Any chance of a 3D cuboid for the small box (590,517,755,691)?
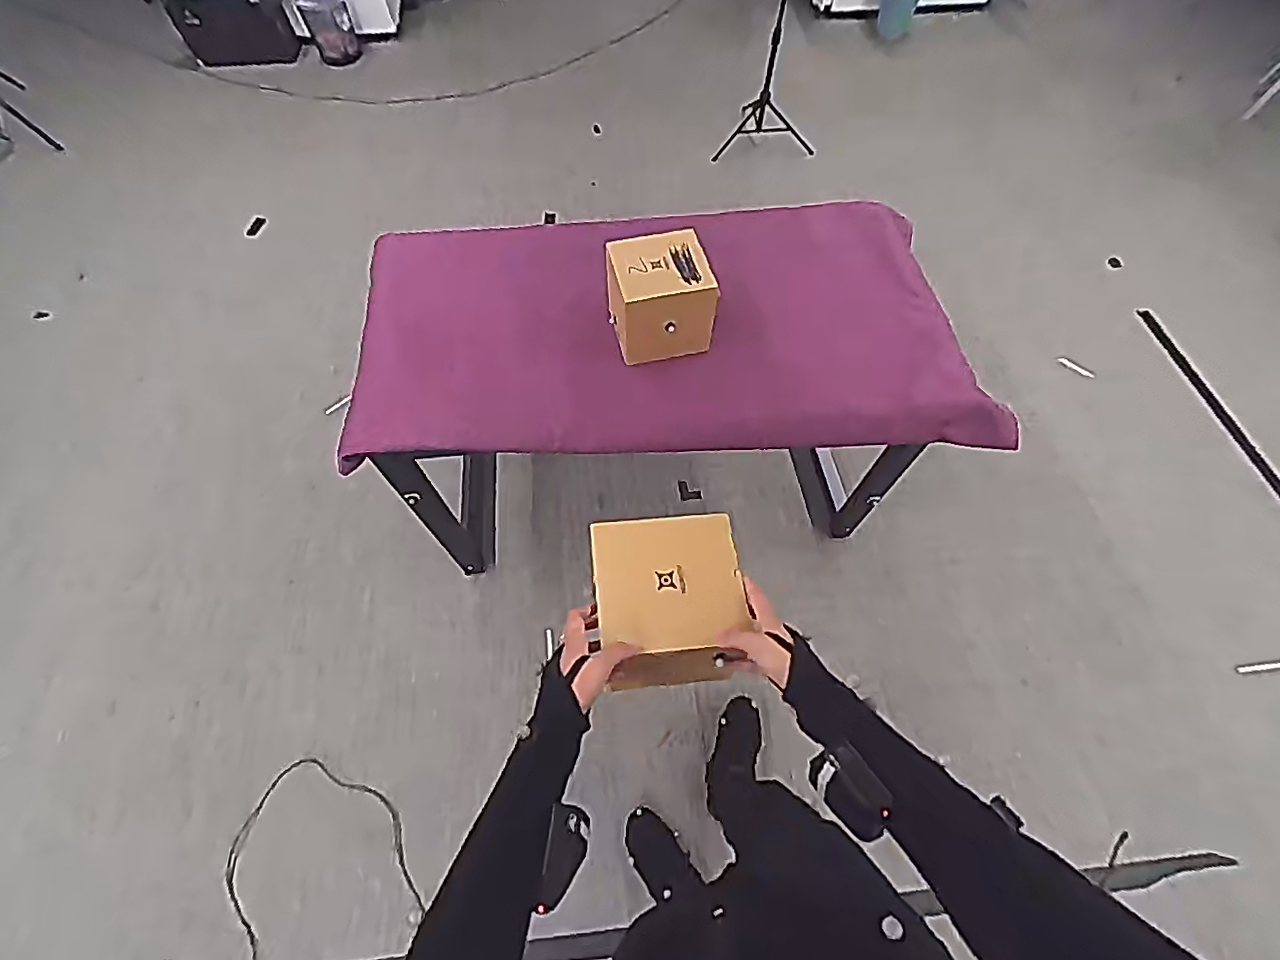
[{"bbox_3d":[0.029,0.163,0.696,0.179,0.176,0.168,-4,57,-7],"label":"small box"}]
